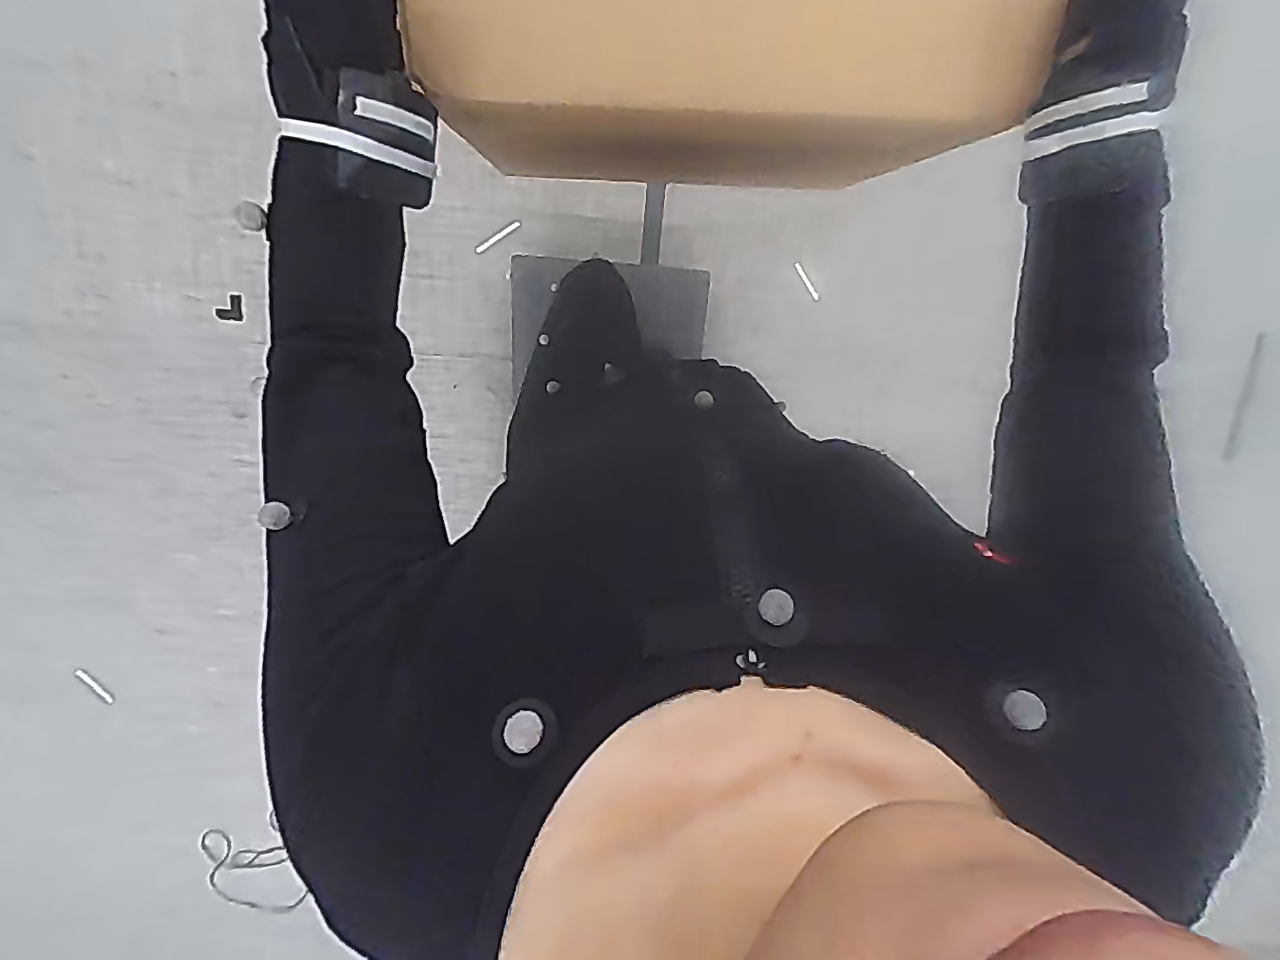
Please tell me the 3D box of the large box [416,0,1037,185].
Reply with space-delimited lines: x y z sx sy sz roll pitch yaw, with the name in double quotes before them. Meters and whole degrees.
"large box" 0.050 -0.443 0.446 0.408 0.320 0.320 0 111 -4
